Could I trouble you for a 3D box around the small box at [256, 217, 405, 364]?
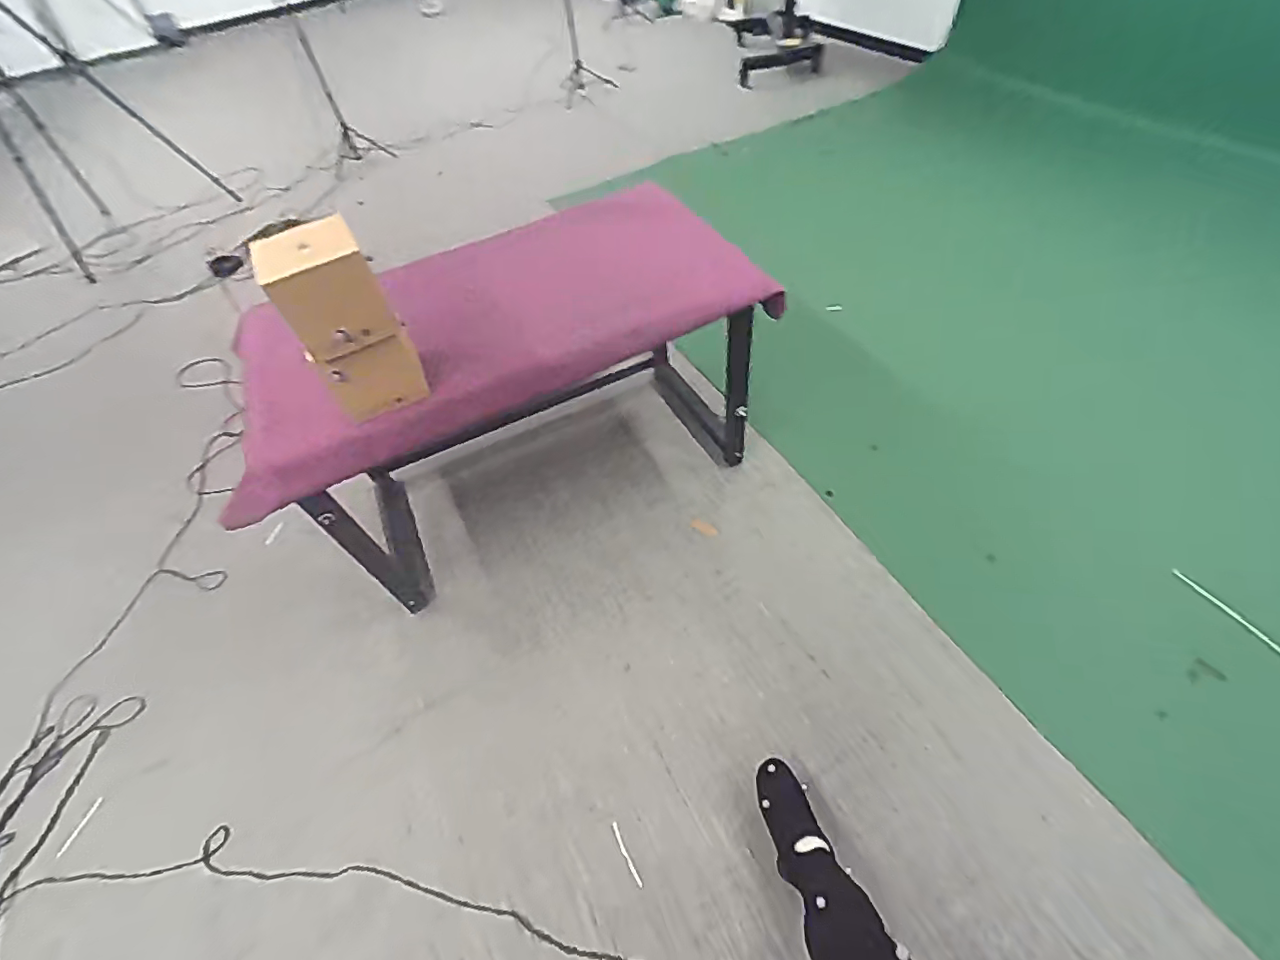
[{"bbox_3d":[-0.558,-0.344,0.985,0.168,0.176,0.179,-28,53,-14],"label":"small box"}]
